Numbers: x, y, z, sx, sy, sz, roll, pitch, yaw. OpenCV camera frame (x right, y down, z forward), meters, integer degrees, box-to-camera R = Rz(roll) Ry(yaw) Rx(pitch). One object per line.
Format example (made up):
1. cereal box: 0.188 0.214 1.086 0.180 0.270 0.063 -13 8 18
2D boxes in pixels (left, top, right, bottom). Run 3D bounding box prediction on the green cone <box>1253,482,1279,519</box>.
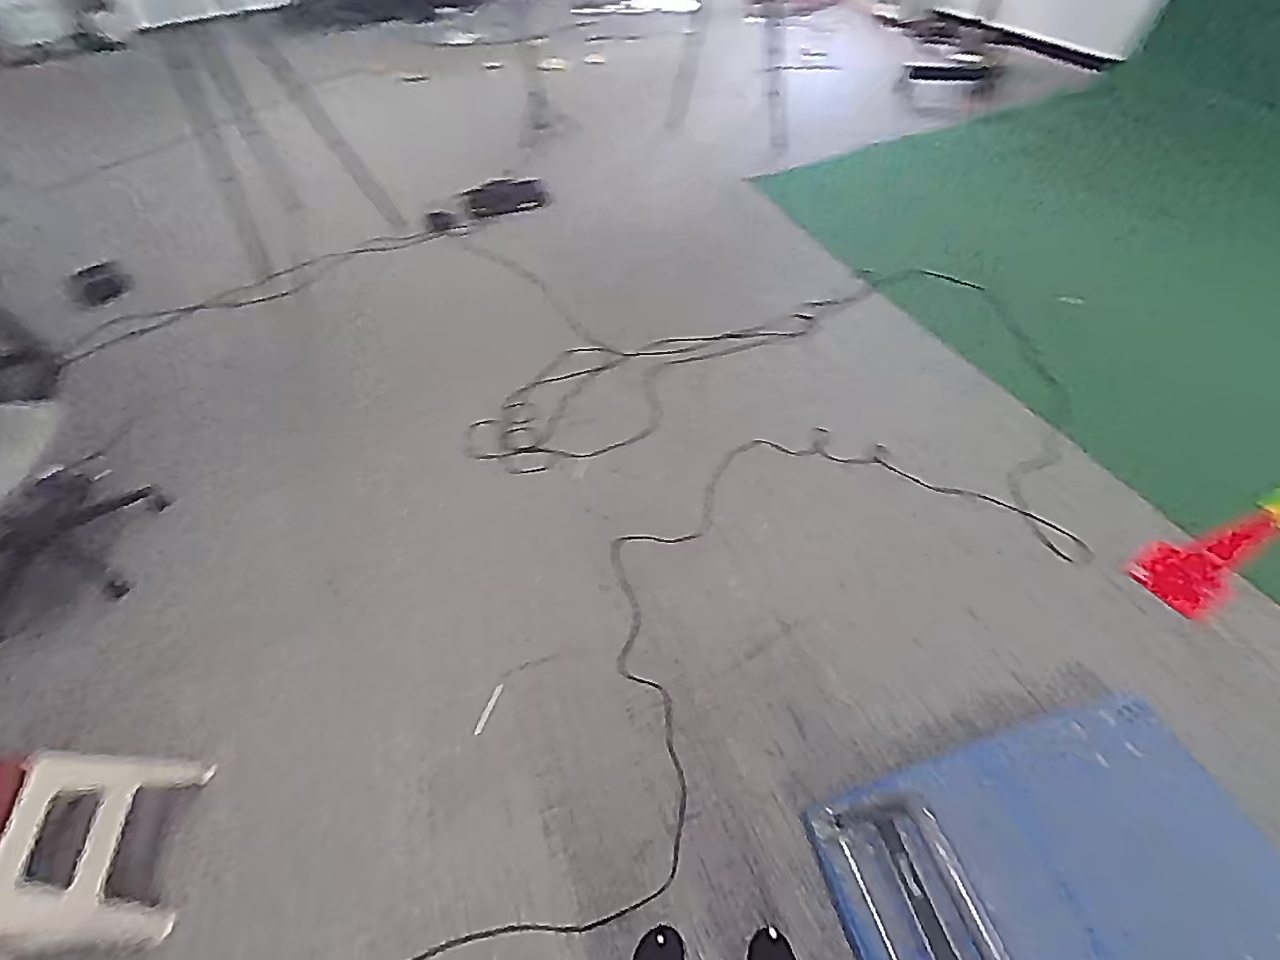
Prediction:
1. green cone: 2.107 -0.011 1.591 0.202 0.368 0.200 -22 54 -12
